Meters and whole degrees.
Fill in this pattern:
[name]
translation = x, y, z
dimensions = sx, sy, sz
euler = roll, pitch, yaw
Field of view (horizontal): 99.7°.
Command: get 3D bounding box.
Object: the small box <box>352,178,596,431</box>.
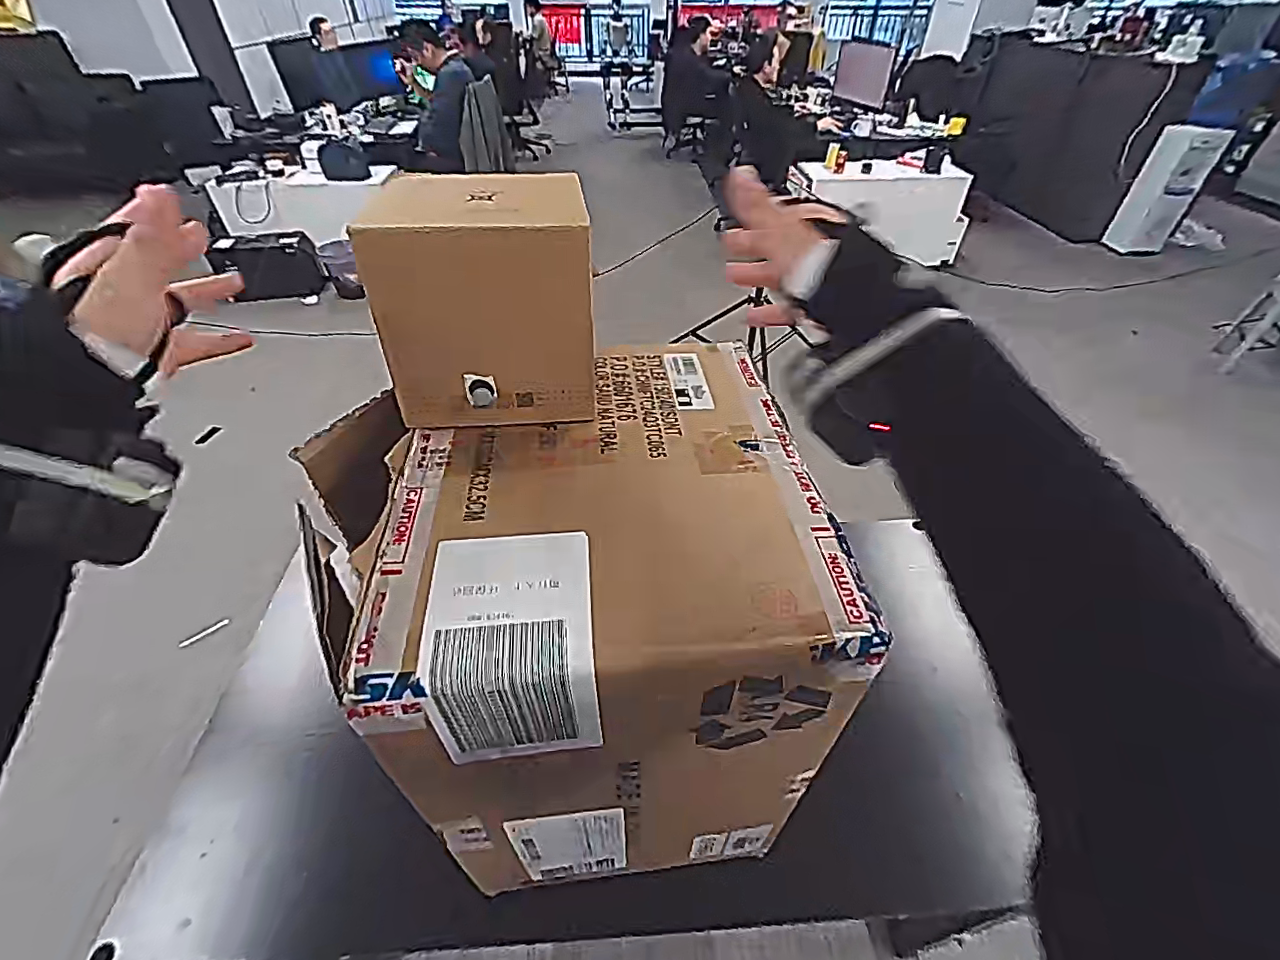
[small box]
translation = -0.129, -0.162, 0.489
dimensions = 0.168, 0.176, 0.179
euler = -5, 41, -7
